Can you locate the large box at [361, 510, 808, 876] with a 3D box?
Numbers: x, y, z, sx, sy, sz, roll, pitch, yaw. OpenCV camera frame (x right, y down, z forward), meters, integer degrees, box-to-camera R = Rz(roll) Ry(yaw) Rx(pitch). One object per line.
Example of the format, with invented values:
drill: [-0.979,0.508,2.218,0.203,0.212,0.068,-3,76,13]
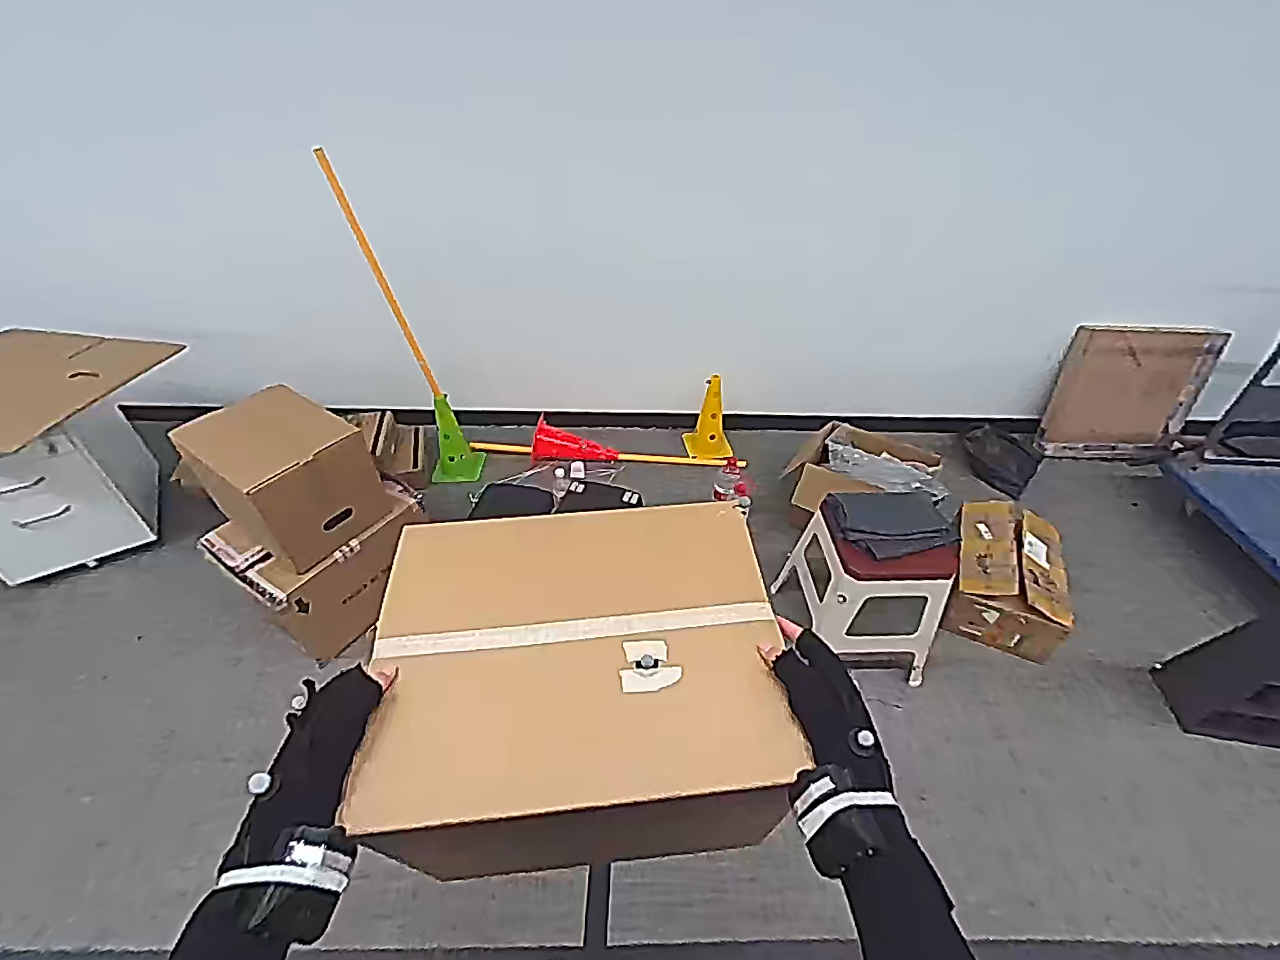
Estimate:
large box: [-0.061,0.266,0.681,0.408,0.320,0.320,-4,48,-5]
